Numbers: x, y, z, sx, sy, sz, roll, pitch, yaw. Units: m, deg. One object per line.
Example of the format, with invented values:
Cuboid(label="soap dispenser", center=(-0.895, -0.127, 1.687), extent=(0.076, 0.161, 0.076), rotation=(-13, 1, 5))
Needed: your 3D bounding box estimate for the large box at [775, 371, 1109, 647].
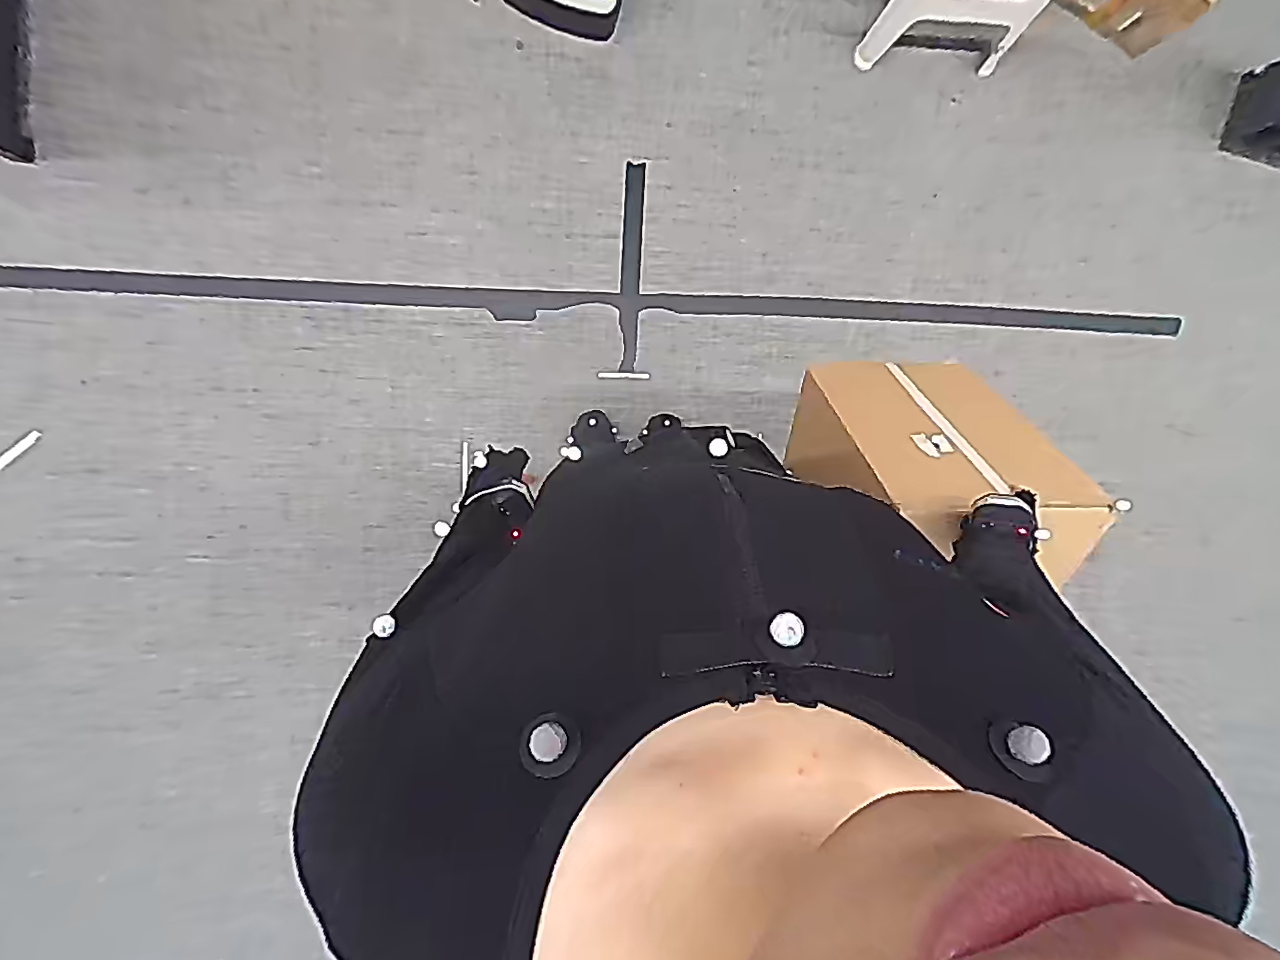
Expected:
Cuboid(label="large box", center=(0.472, 0.039, 0.974), extent=(0.320, 0.408, 0.320), rotation=(-1, 130, -5))
